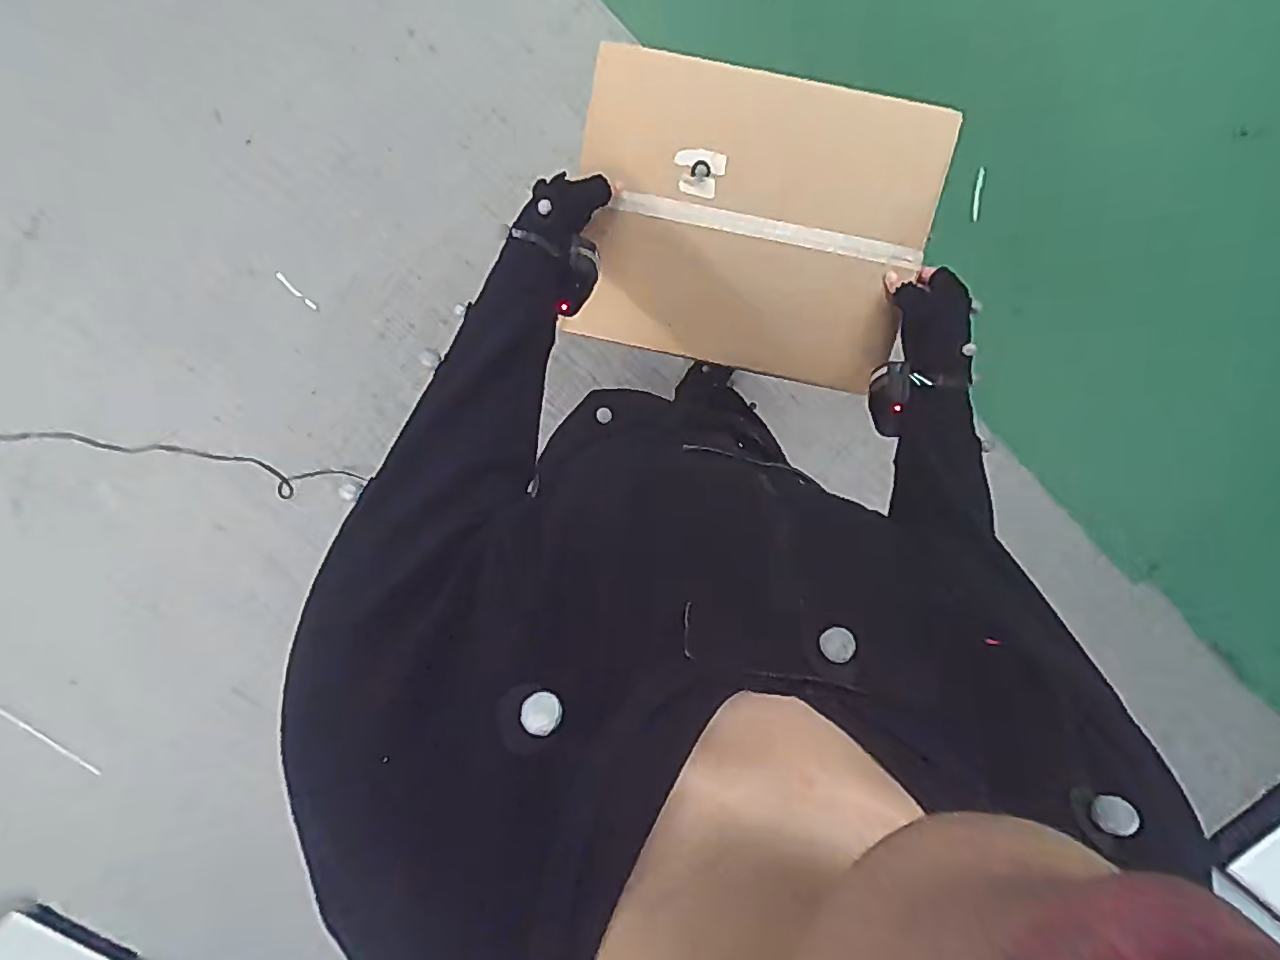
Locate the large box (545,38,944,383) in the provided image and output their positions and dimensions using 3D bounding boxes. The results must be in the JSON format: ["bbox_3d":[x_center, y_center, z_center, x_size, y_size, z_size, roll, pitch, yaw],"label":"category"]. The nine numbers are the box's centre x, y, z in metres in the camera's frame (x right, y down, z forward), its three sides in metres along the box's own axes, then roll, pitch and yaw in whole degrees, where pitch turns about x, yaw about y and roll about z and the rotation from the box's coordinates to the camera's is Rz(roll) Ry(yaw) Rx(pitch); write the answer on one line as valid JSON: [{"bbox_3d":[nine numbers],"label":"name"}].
[{"bbox_3d":[0.117,-0.336,0.761,0.408,0.320,0.320,12,105,2],"label":"large box"}]
